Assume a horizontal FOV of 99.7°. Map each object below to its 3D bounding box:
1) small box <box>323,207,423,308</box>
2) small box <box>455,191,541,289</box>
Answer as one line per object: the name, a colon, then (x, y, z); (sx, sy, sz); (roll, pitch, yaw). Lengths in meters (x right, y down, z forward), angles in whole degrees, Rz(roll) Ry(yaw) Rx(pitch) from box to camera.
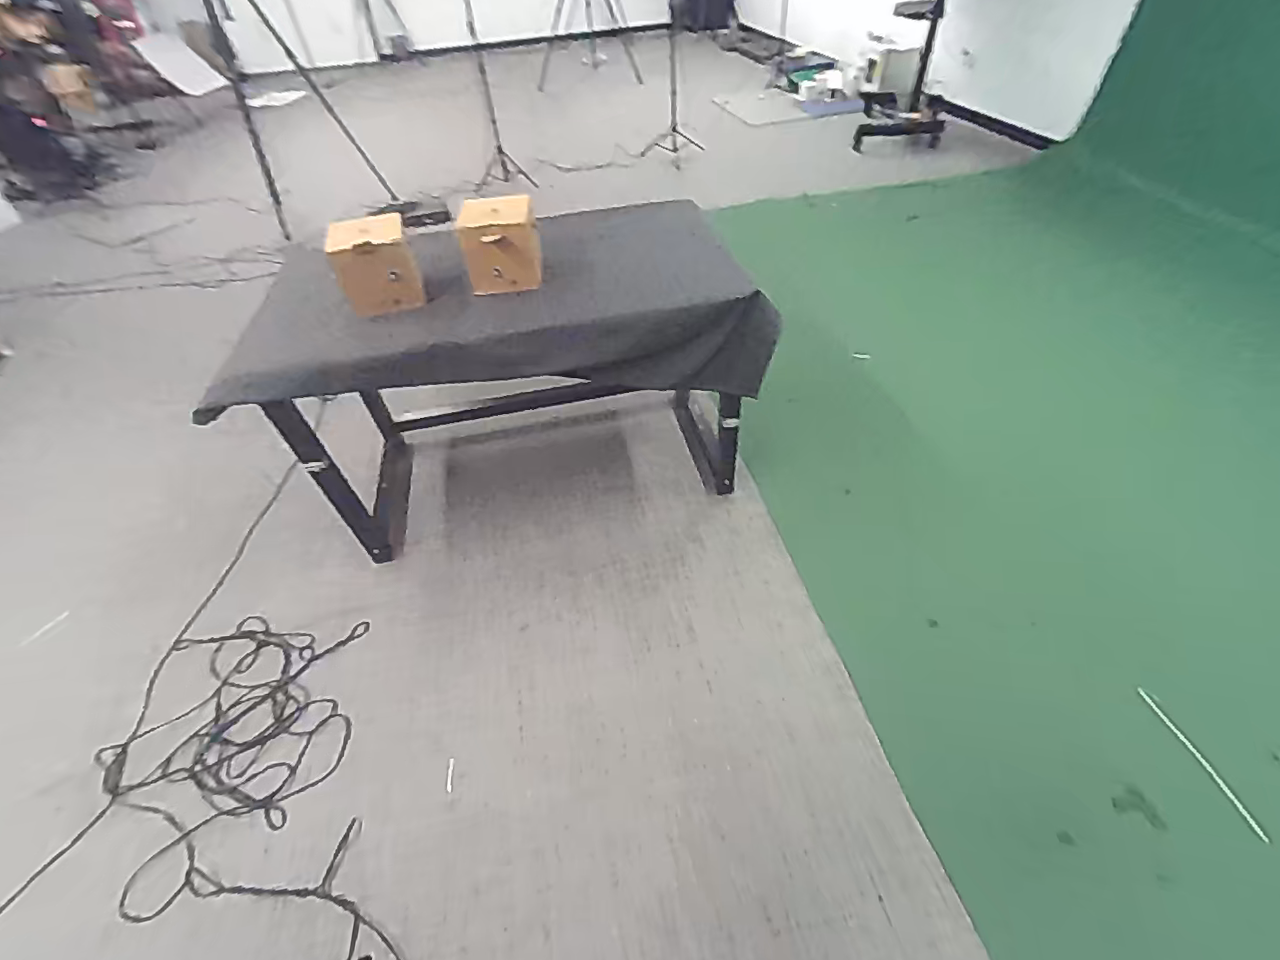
small box: (-0.629, -0.524, 1.291); (0.168, 0.176, 0.179); (-15, 46, -12)
small box: (-0.341, -0.592, 1.335); (0.168, 0.176, 0.179); (-6, 47, -2)
